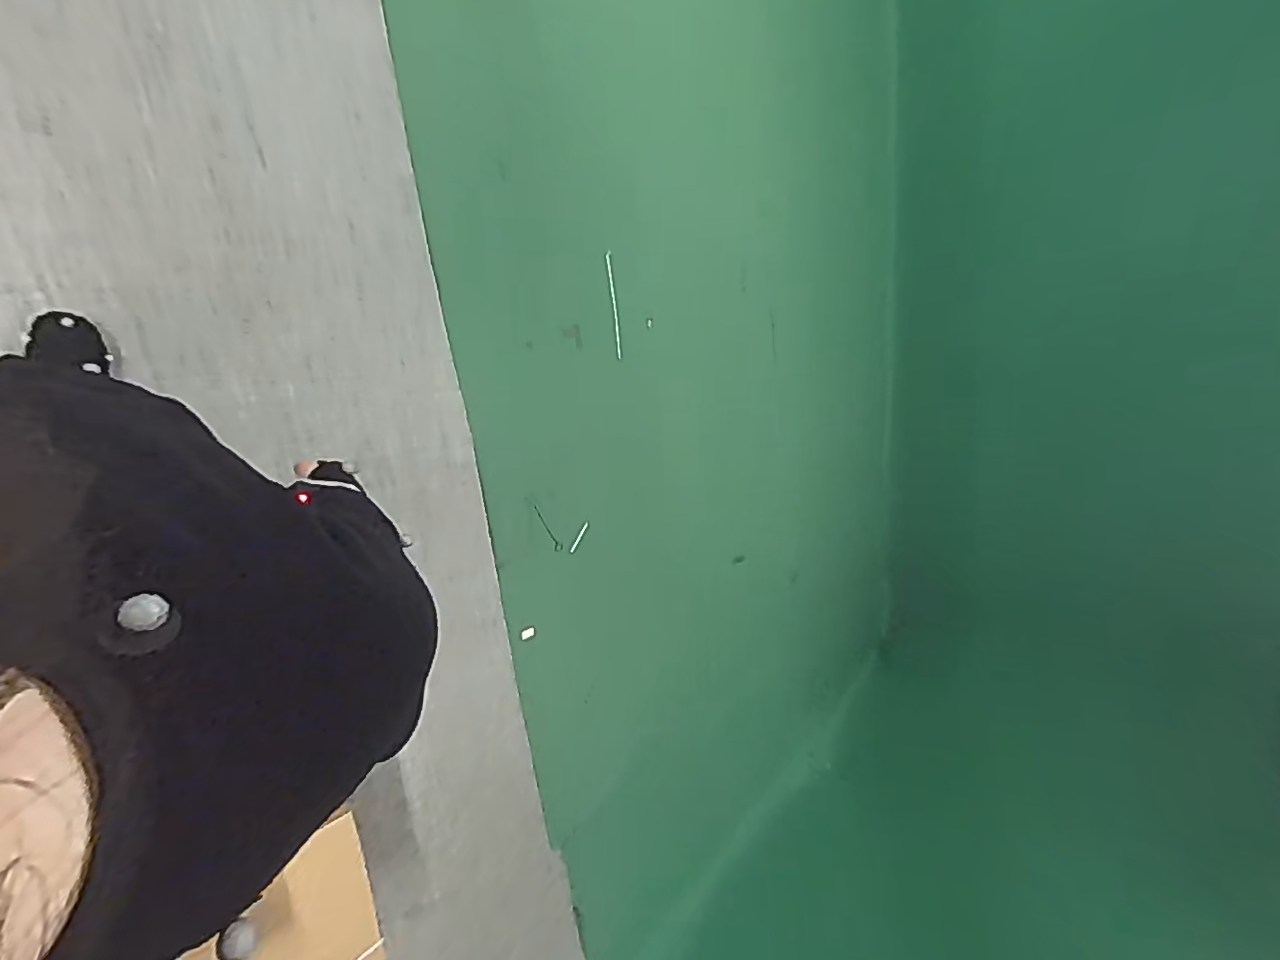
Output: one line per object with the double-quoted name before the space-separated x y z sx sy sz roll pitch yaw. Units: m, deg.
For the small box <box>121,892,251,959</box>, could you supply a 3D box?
"small box" -0.801 0.890 0.964 0.168 0.176 0.179 -11 106 -41
